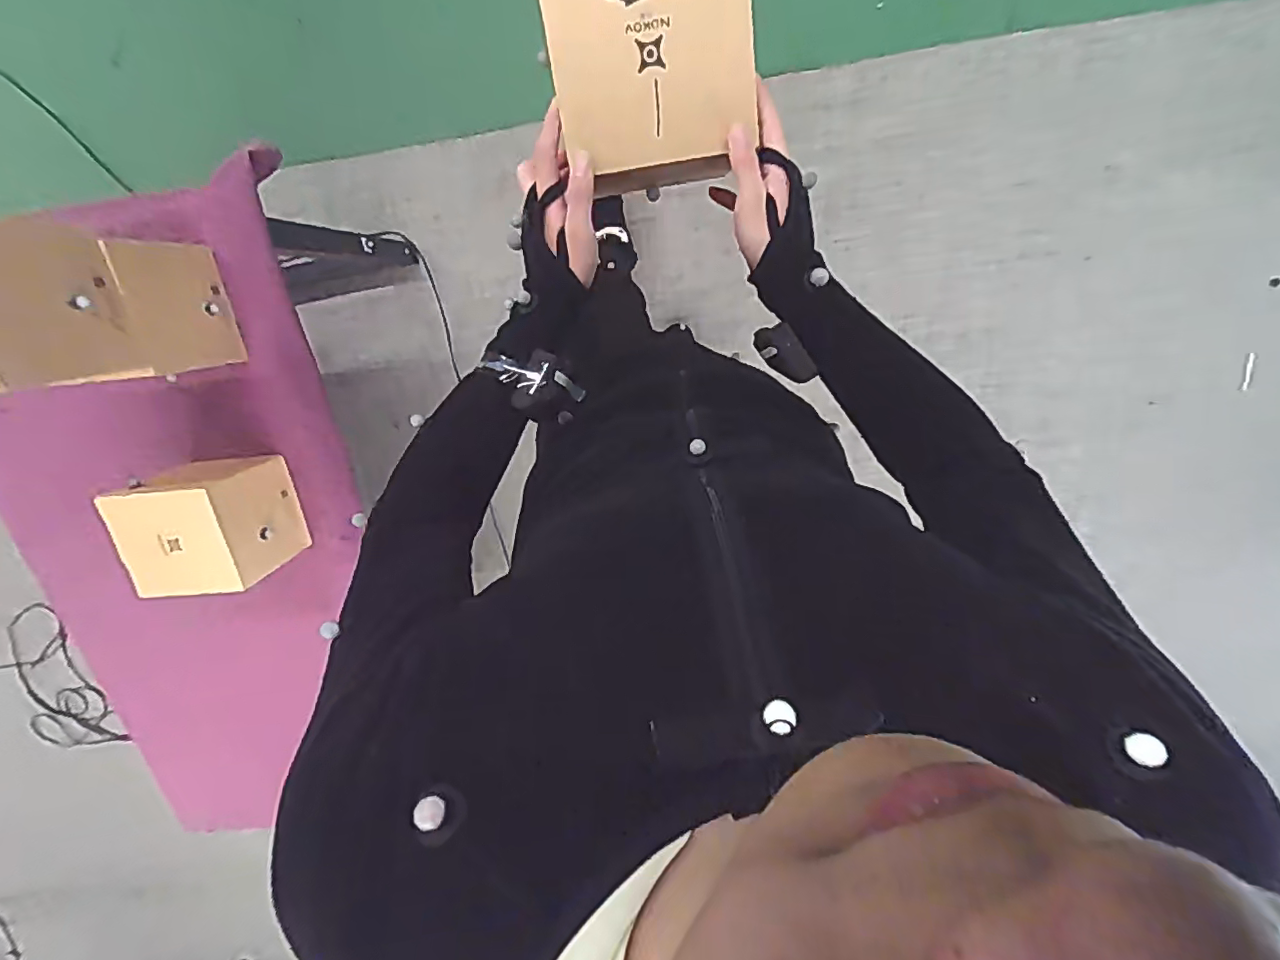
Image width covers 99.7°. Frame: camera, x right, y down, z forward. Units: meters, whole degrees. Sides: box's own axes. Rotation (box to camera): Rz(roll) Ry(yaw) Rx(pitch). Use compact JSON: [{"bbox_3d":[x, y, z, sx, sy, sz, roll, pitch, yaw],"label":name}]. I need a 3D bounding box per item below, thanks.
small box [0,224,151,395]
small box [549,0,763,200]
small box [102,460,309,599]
[{"bbox_3d":[-0.719,-0.181,0.600,0.179,0.176,0.168,-6,110,5],"label":"small box"},{"bbox_3d":[0.012,-0.377,0.505,0.168,0.176,0.179,-8,112,3],"label":"small box"},{"bbox_3d":[-0.665,0.072,0.860,0.179,0.176,0.168,-5,109,6],"label":"small box"}]
